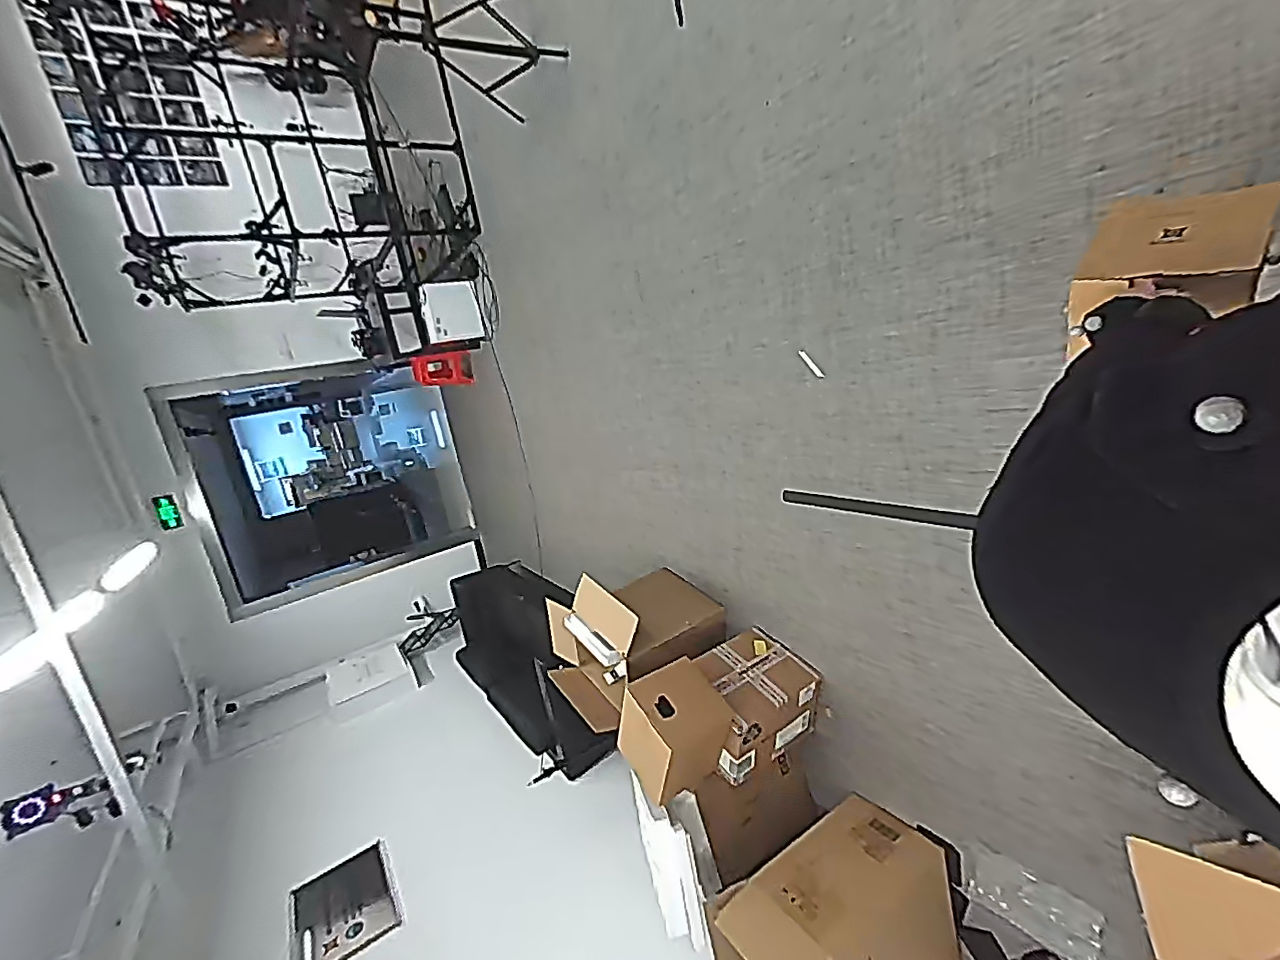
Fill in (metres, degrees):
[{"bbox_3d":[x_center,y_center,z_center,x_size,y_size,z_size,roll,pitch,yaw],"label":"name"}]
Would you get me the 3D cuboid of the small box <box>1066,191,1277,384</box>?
[{"bbox_3d":[0.696,-0.247,0.724,0.168,0.179,0.176,17,149,44],"label":"small box"}]
